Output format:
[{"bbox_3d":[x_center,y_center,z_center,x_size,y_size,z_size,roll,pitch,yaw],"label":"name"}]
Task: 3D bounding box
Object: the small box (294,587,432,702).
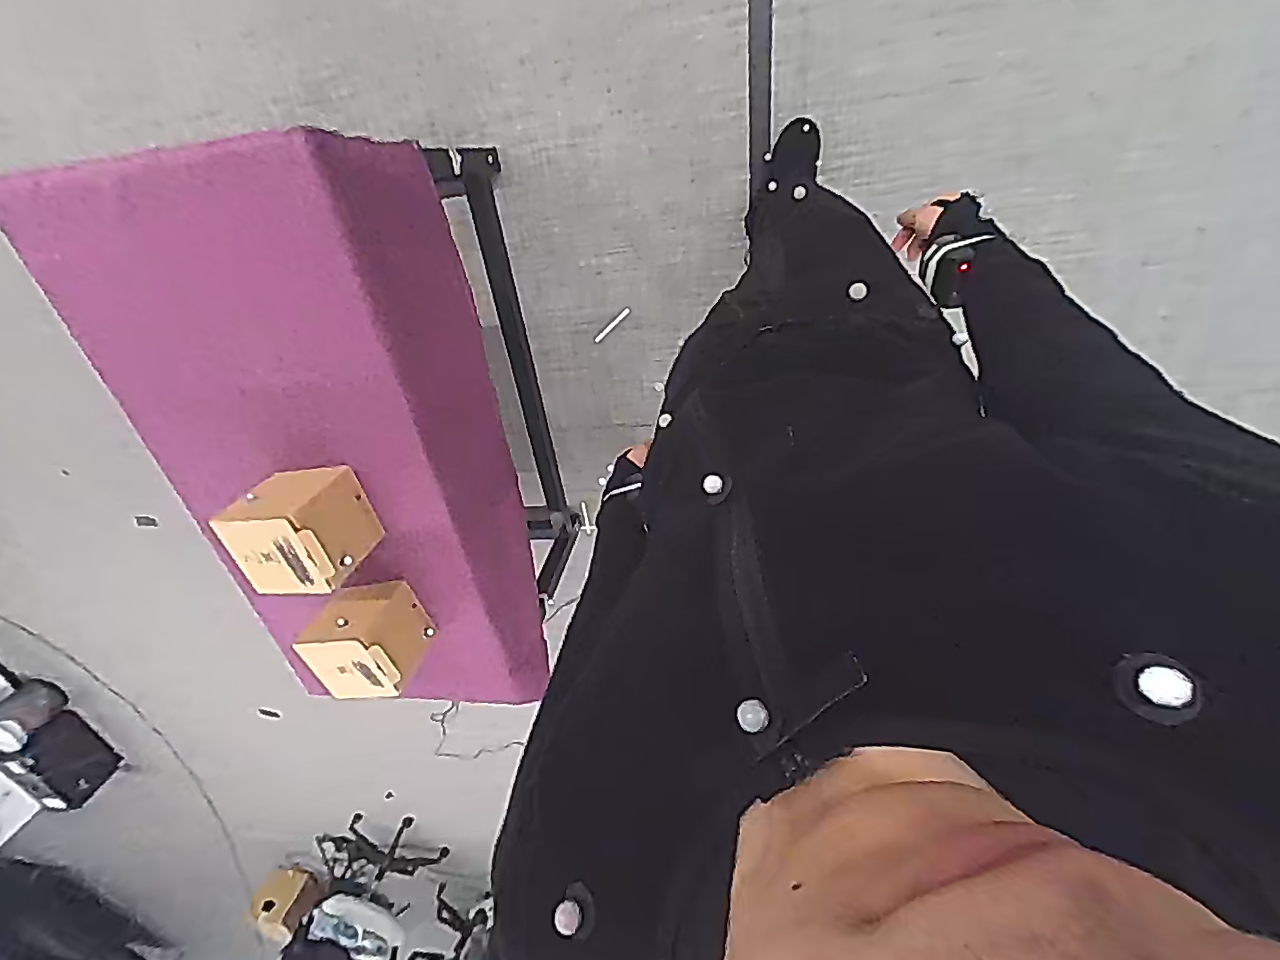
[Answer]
[{"bbox_3d":[-0.573,0.347,1.153,0.179,0.176,0.168,-10,118,17],"label":"small box"}]
